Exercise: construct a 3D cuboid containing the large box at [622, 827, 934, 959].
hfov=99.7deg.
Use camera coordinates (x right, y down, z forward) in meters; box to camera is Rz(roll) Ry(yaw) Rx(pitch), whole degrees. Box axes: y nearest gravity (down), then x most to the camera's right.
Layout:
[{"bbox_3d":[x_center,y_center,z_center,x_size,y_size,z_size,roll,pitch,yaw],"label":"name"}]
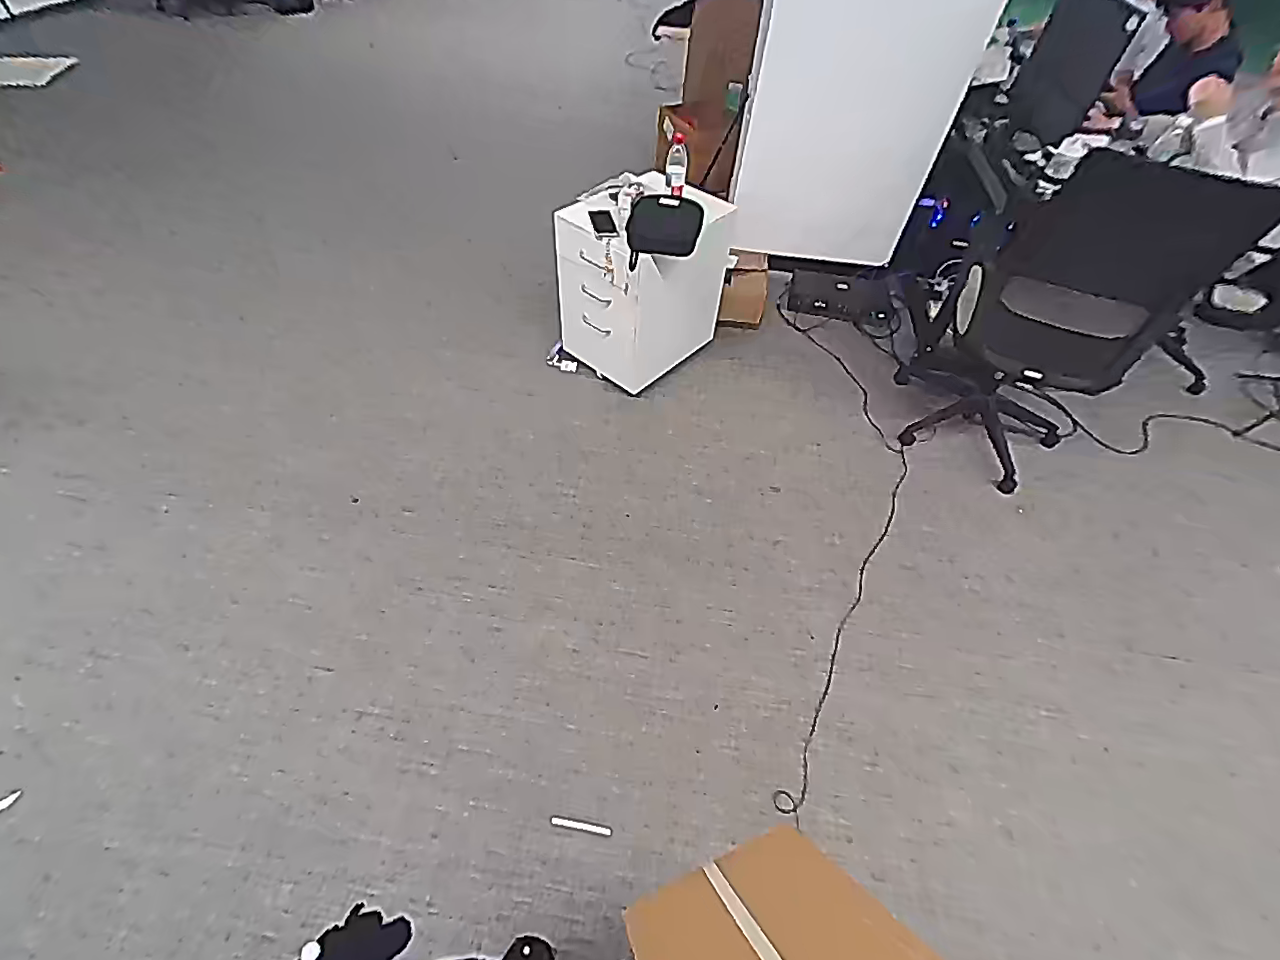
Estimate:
[{"bbox_3d":[0.201,0.746,0.691,0.320,0.408,0.320,-18,84,-15],"label":"large box"}]
